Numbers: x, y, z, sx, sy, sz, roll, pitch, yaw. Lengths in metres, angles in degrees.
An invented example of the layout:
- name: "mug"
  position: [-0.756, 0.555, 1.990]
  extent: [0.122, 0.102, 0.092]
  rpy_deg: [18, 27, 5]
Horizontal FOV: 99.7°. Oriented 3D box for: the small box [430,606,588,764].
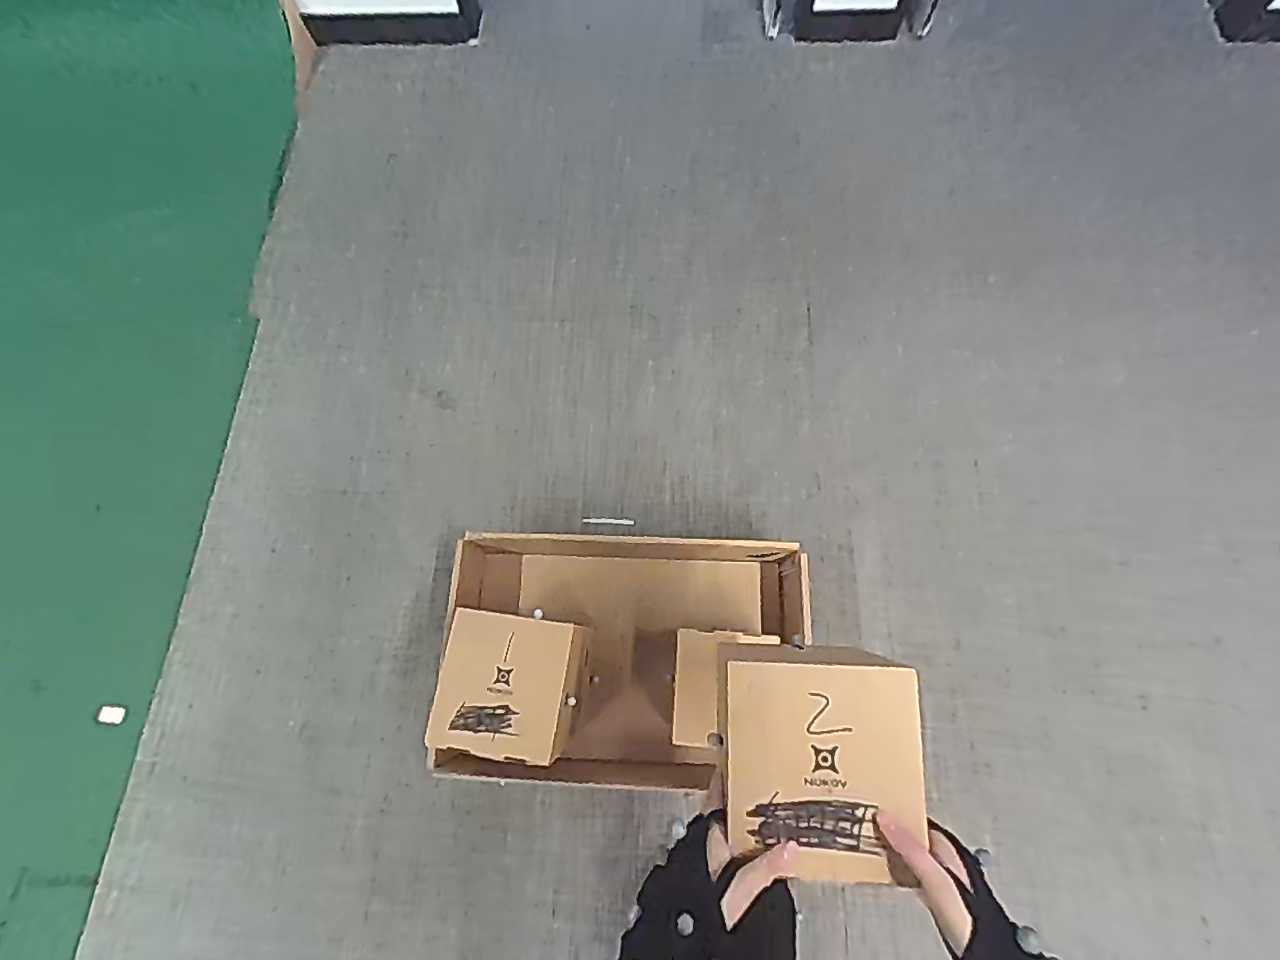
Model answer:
- name: "small box"
  position: [-0.175, 0.289, 0.784]
  extent: [0.168, 0.176, 0.179]
  rpy_deg: [8, 72, 3]
